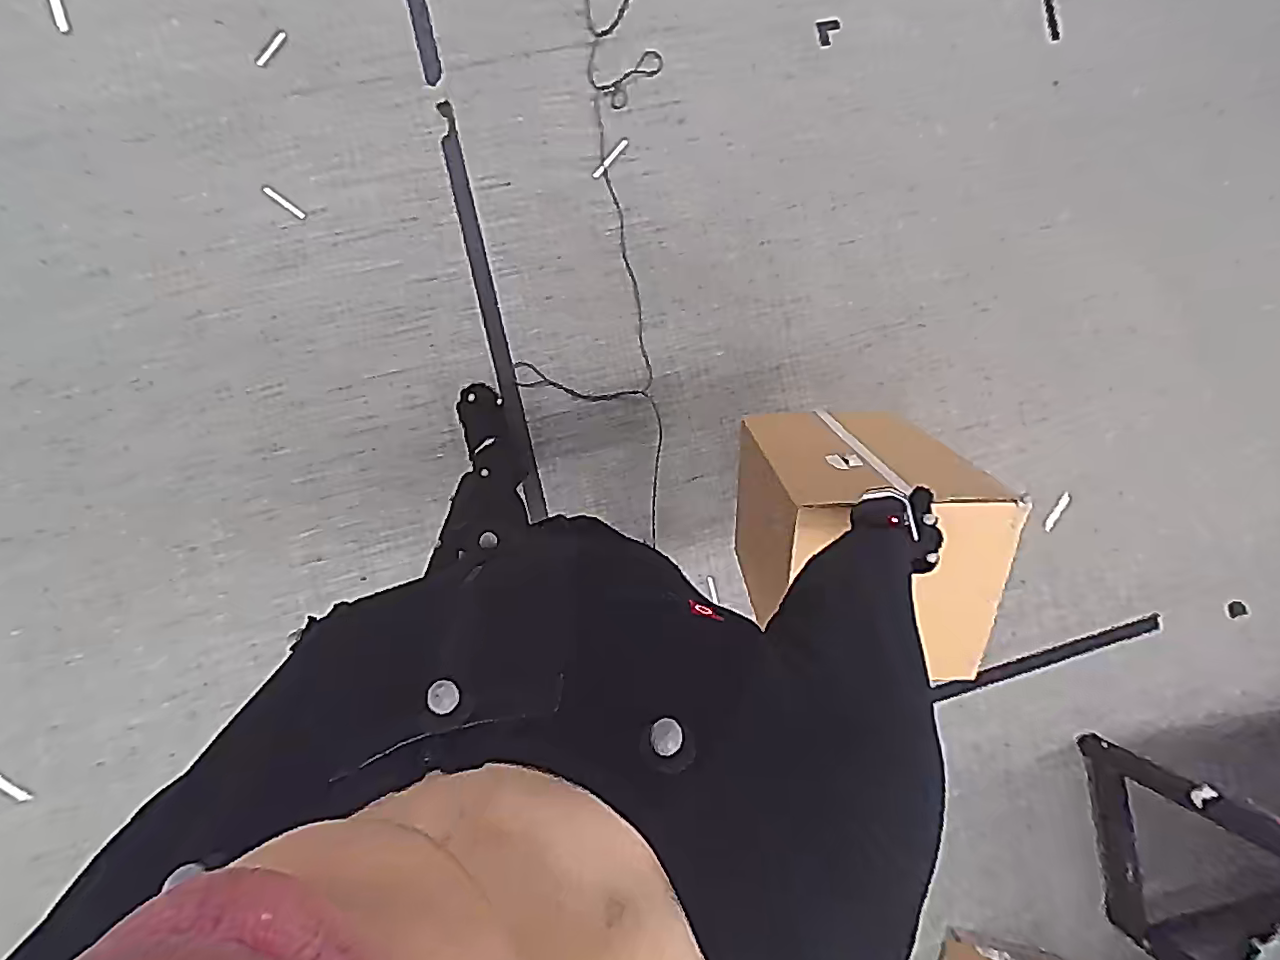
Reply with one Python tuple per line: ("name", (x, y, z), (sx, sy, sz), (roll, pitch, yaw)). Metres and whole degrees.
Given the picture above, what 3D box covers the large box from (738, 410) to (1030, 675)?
("large box", (0.373, 0.086, 0.971), (0.320, 0.408, 0.320), (-2, 116, 0))
